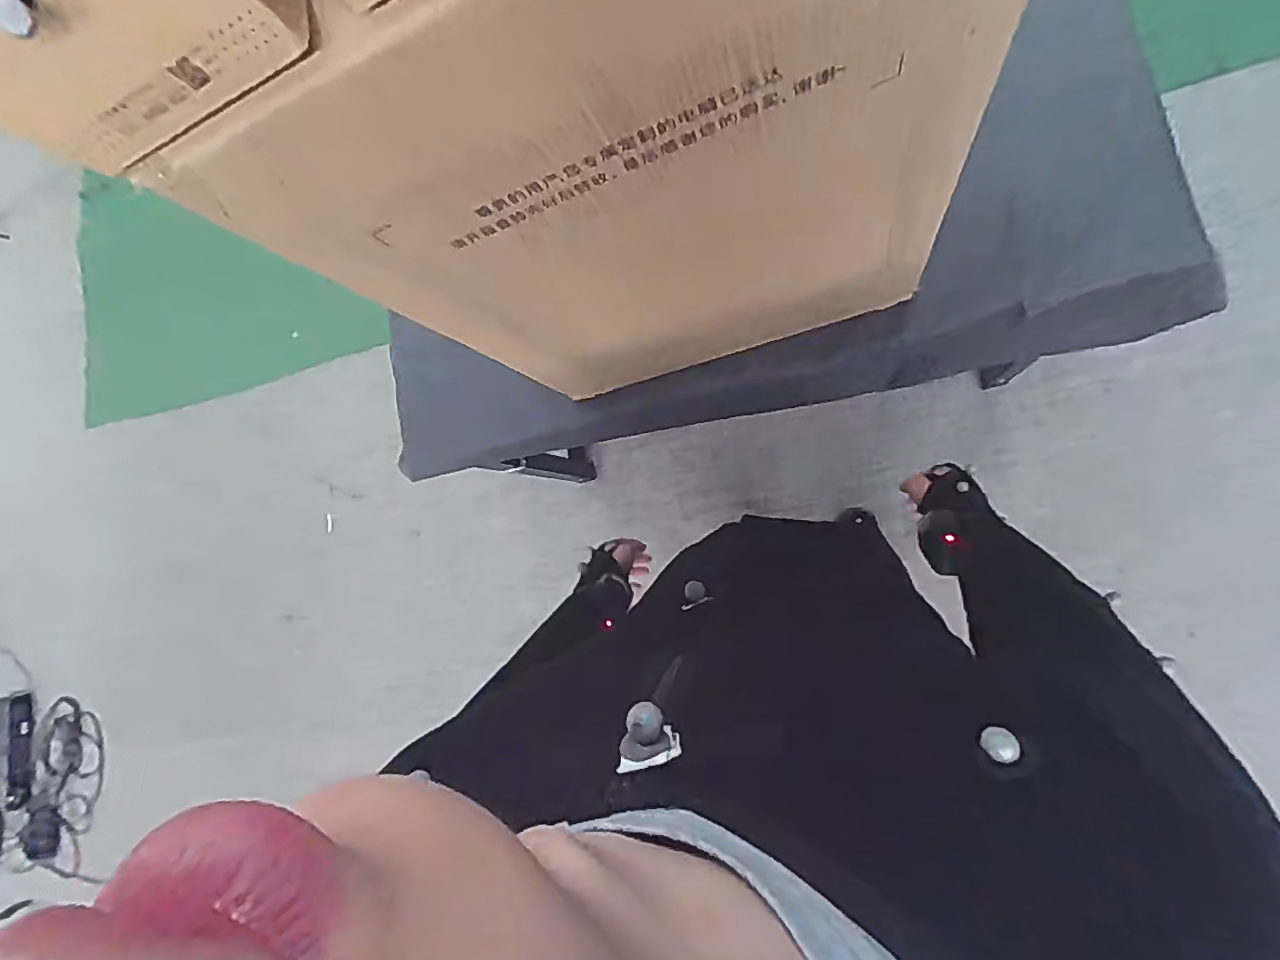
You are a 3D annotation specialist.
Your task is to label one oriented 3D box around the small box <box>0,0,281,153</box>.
[{"bbox_3d":[-0.290,-0.281,0.232,0.168,0.176,0.179,-14,83,19],"label":"small box"}]
